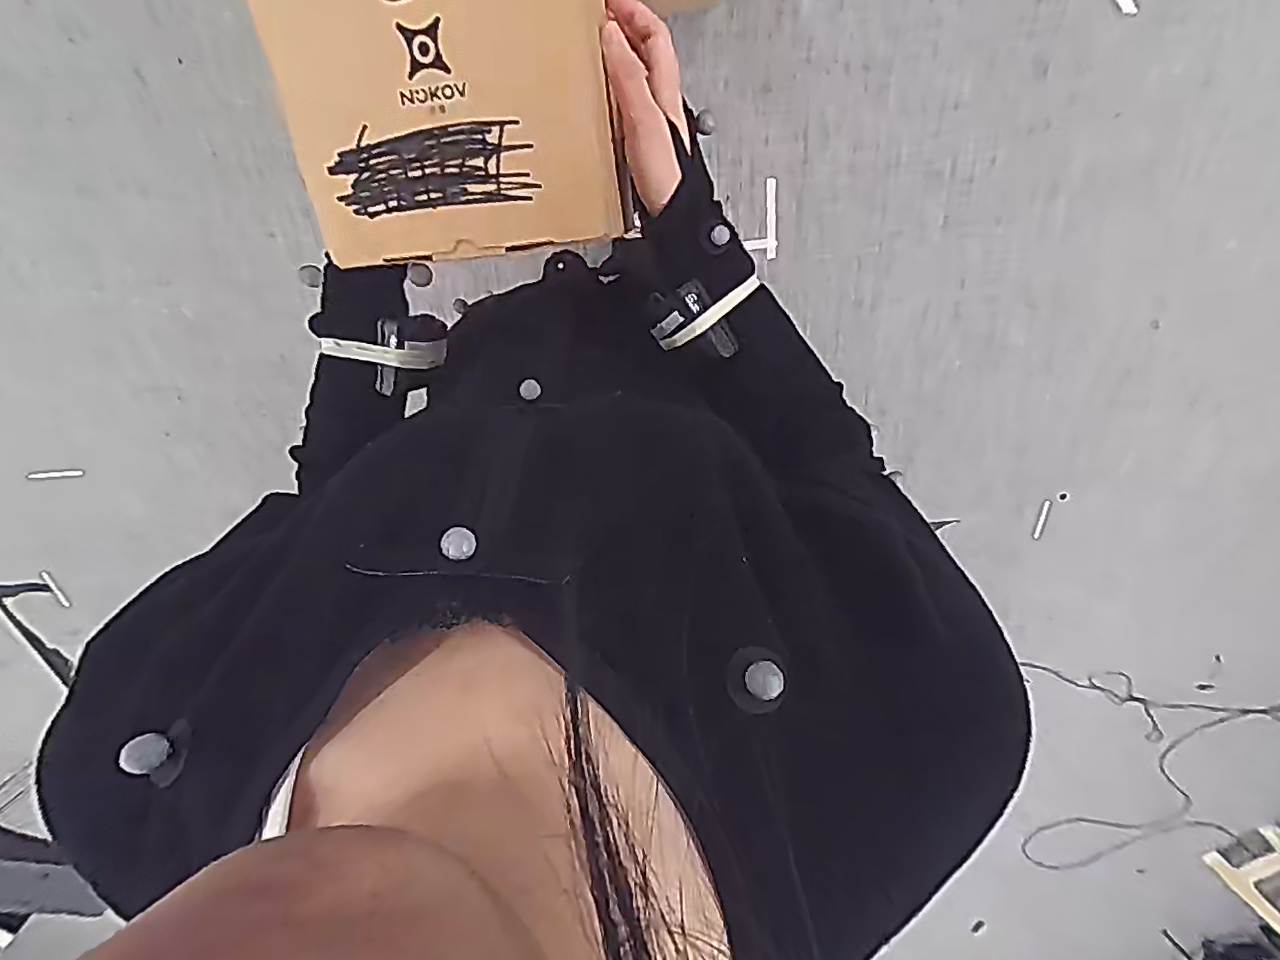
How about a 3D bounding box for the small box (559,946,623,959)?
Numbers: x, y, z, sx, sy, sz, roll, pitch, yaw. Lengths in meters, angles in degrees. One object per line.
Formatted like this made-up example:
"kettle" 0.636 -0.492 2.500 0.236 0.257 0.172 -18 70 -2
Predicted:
"small box" -0.120 1.316 1.360 0.168 0.176 0.179 -3 118 -3
